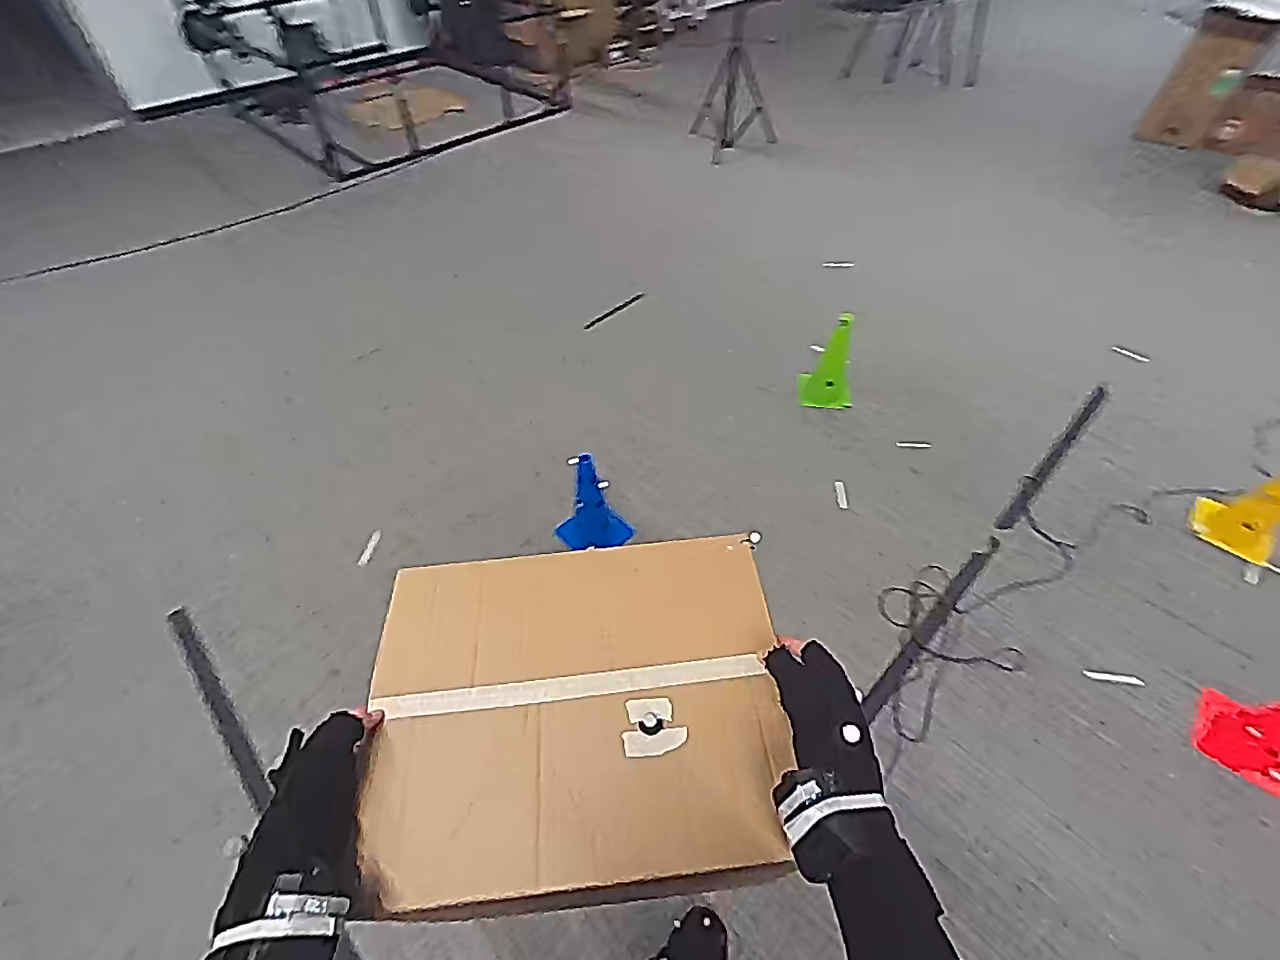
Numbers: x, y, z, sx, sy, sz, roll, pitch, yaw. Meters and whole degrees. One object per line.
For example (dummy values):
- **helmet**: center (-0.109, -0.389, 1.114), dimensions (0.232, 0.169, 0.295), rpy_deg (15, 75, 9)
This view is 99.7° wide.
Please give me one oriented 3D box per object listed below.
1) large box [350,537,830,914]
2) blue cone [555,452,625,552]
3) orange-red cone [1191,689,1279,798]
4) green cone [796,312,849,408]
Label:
- **large box**: center (-0.048, 0.296, 0.647), dimensions (0.408, 0.320, 0.320), rpy_deg (-4, 50, -2)
- **blue cone**: center (-0.168, 0.062, 1.667), dimensions (0.193, 0.380, 0.192), rpy_deg (-34, 56, -25)
- **orange-red cone**: center (1.496, 0.536, 1.210), dimensions (0.198, 0.360, 0.199), rpy_deg (35, 58, 26)
- **green cone**: center (0.737, -0.479, 2.081), dimensions (0.202, 0.368, 0.200), rpy_deg (4, 49, 7)
